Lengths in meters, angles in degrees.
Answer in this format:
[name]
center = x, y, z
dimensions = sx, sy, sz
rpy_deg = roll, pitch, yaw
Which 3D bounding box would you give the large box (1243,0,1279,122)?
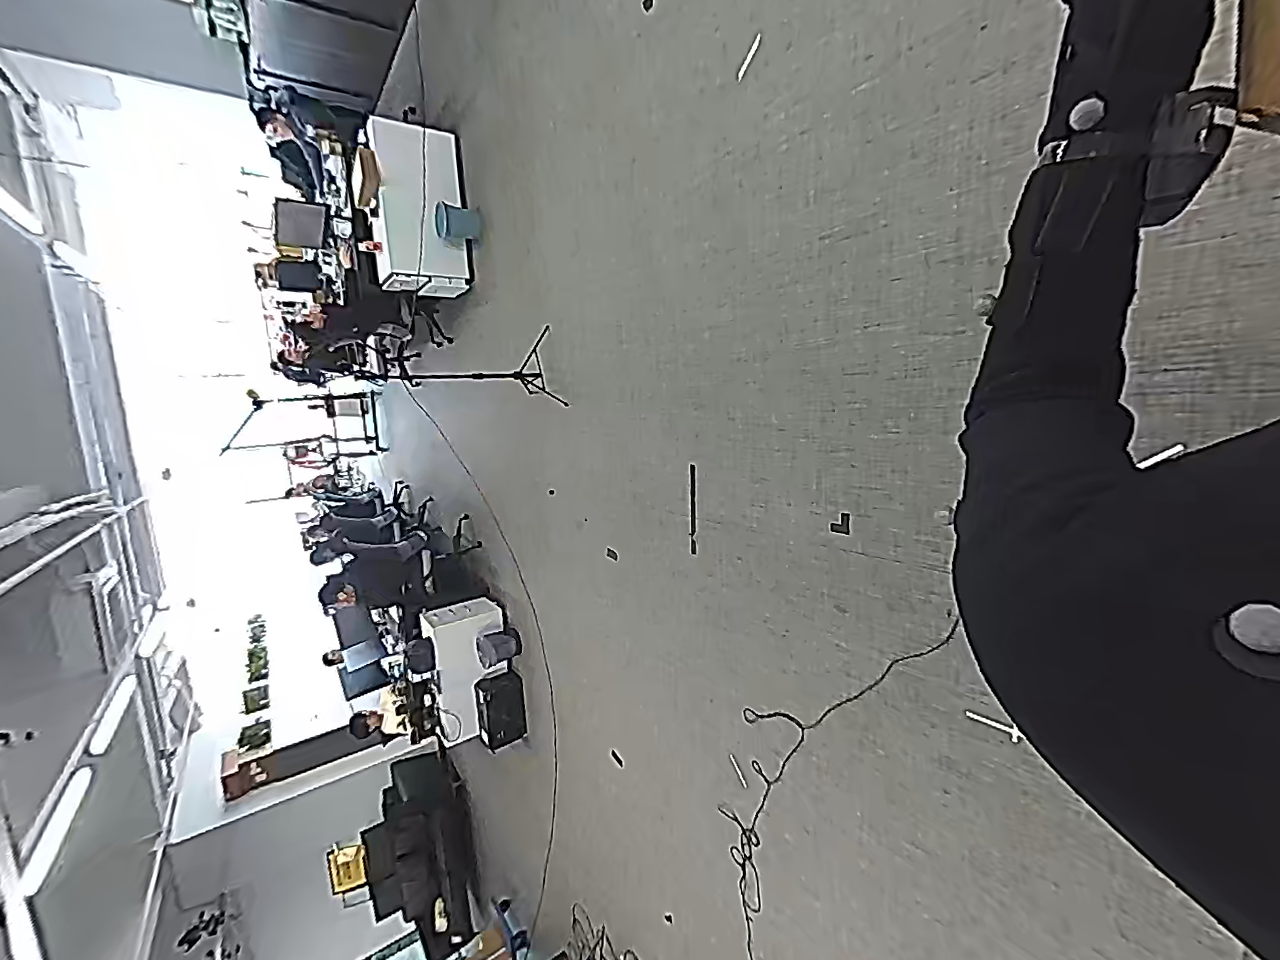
[large box]
center = 0.552, -0.389, 0.203
dimensions = 0.408, 0.320, 0.320
rpy_deg = 8, 115, 54
